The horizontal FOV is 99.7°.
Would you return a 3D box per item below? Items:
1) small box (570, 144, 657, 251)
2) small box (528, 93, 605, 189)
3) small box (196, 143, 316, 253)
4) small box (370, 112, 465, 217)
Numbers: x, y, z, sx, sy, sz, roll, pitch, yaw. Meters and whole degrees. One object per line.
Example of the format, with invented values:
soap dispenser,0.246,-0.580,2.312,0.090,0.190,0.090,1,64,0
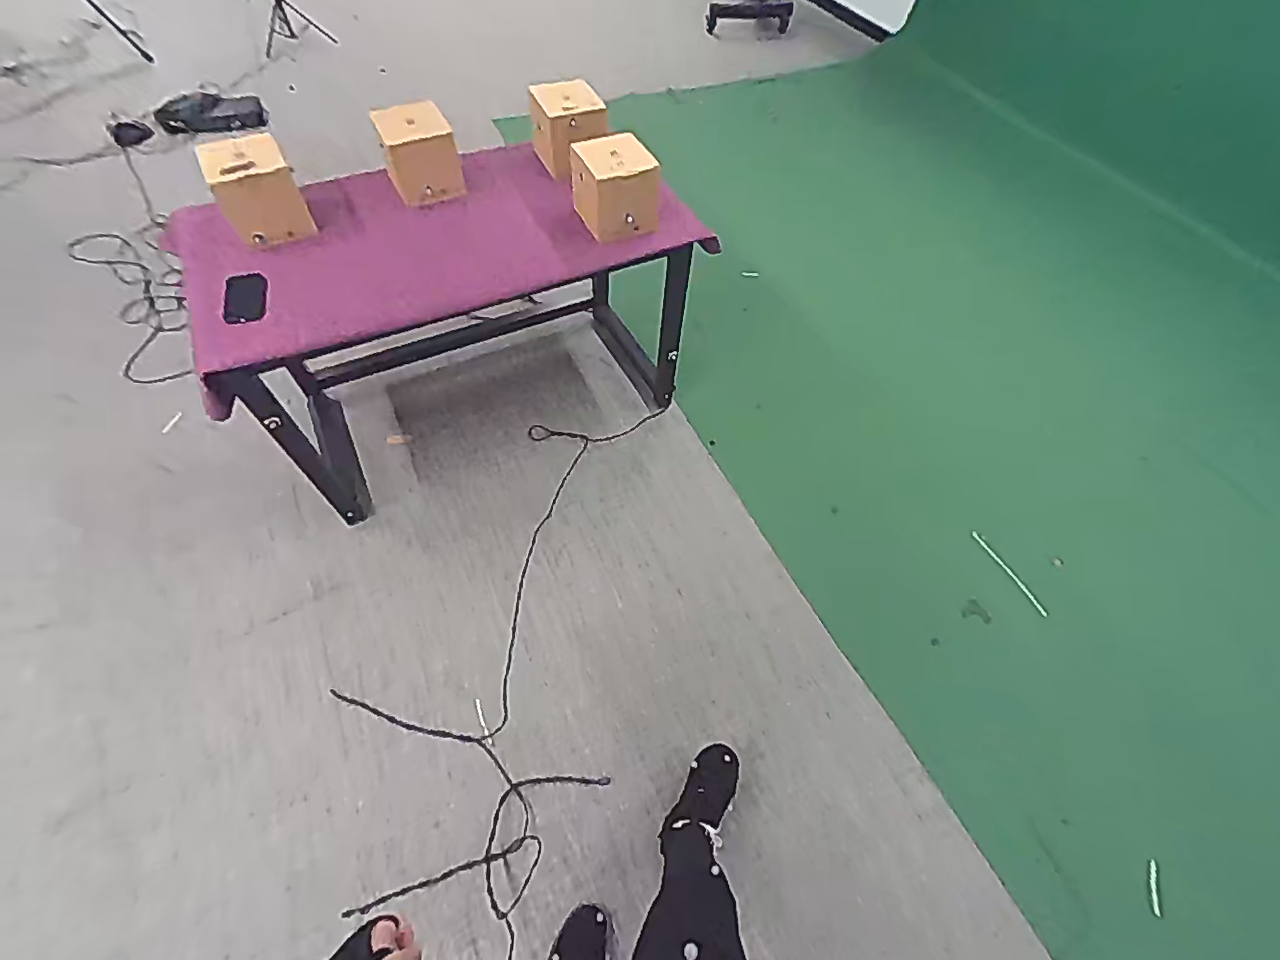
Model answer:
small box,-0.070,-0.717,1.377,0.168,0.176,0.179,-21,60,-14
small box,-0.206,-0.959,1.532,0.168,0.176,0.179,-20,60,-15
small box,-0.910,-0.667,1.295,0.168,0.176,0.179,-25,61,-19
small box,-0.581,-0.828,1.423,0.168,0.176,0.179,-23,62,-17
